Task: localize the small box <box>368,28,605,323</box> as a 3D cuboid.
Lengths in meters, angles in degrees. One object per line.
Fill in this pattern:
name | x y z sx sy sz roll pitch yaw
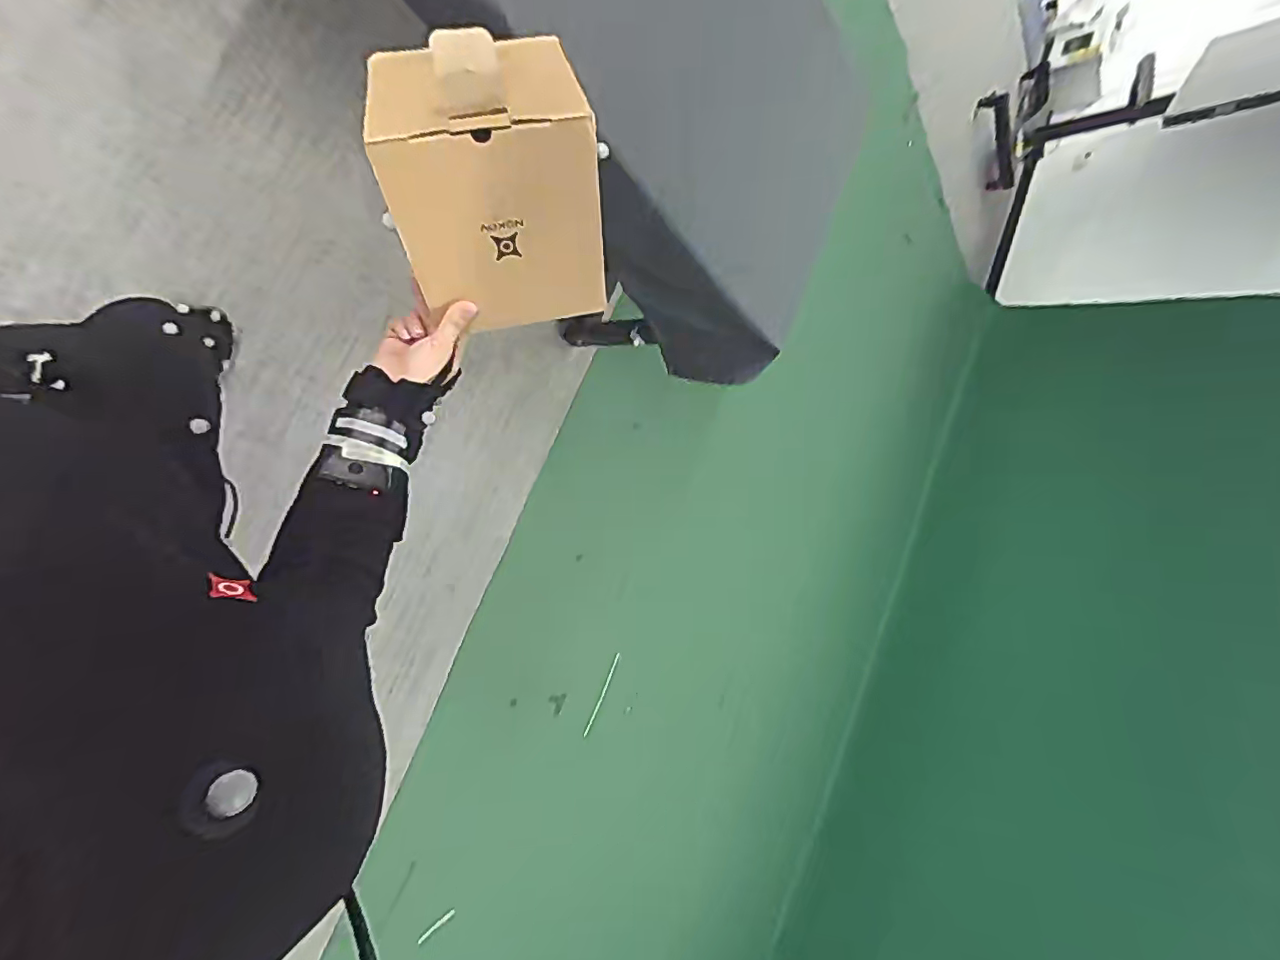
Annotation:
small box | -0.132 -0.279 0.502 0.168 0.176 0.179 -12 146 -8
